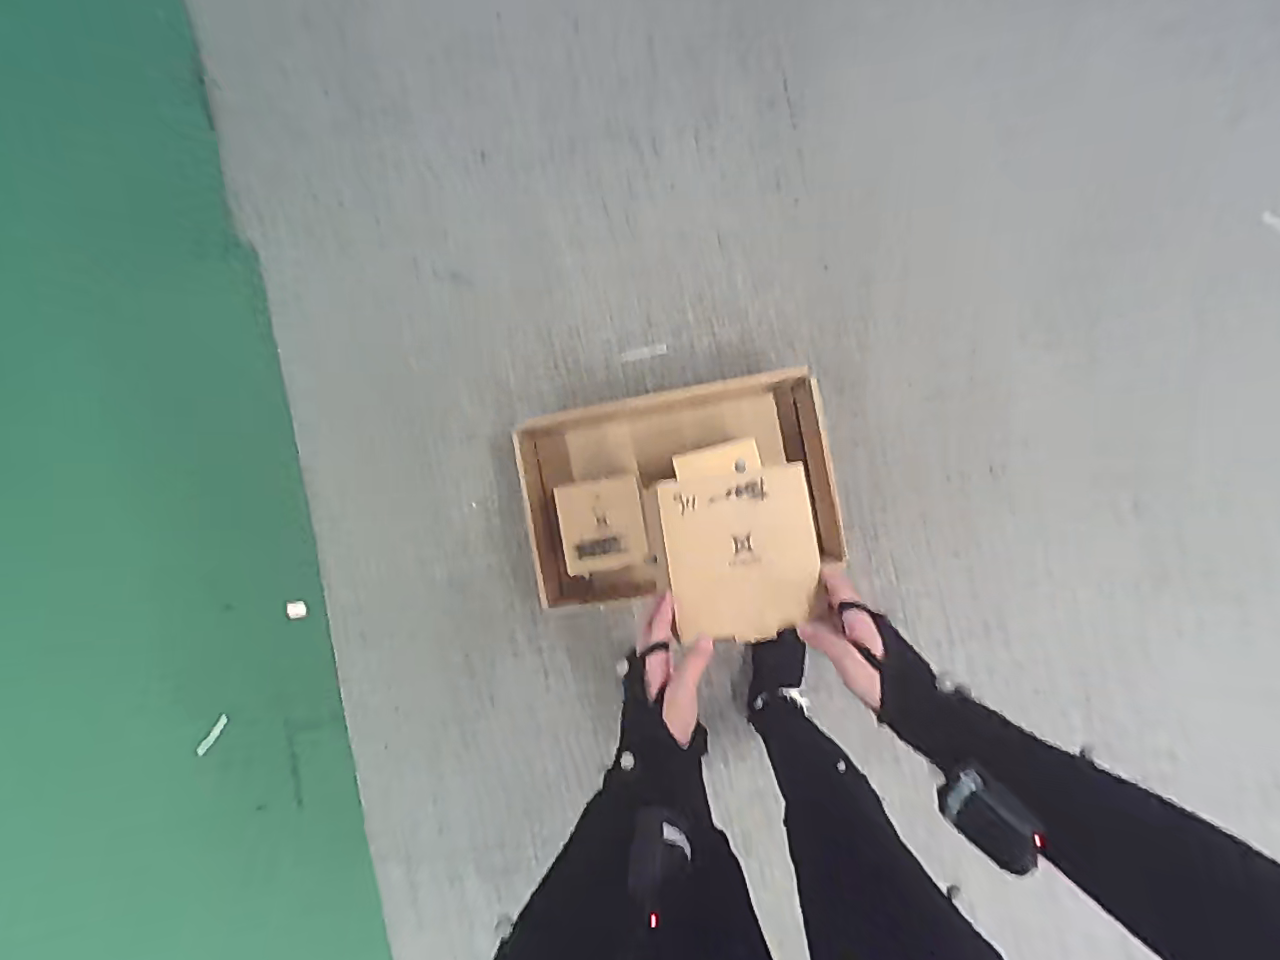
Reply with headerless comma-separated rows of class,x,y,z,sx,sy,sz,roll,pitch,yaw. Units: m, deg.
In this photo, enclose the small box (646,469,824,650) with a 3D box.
small box,0.101,0.089,0.653,0.168,0.176,0.179,-8,85,-4
